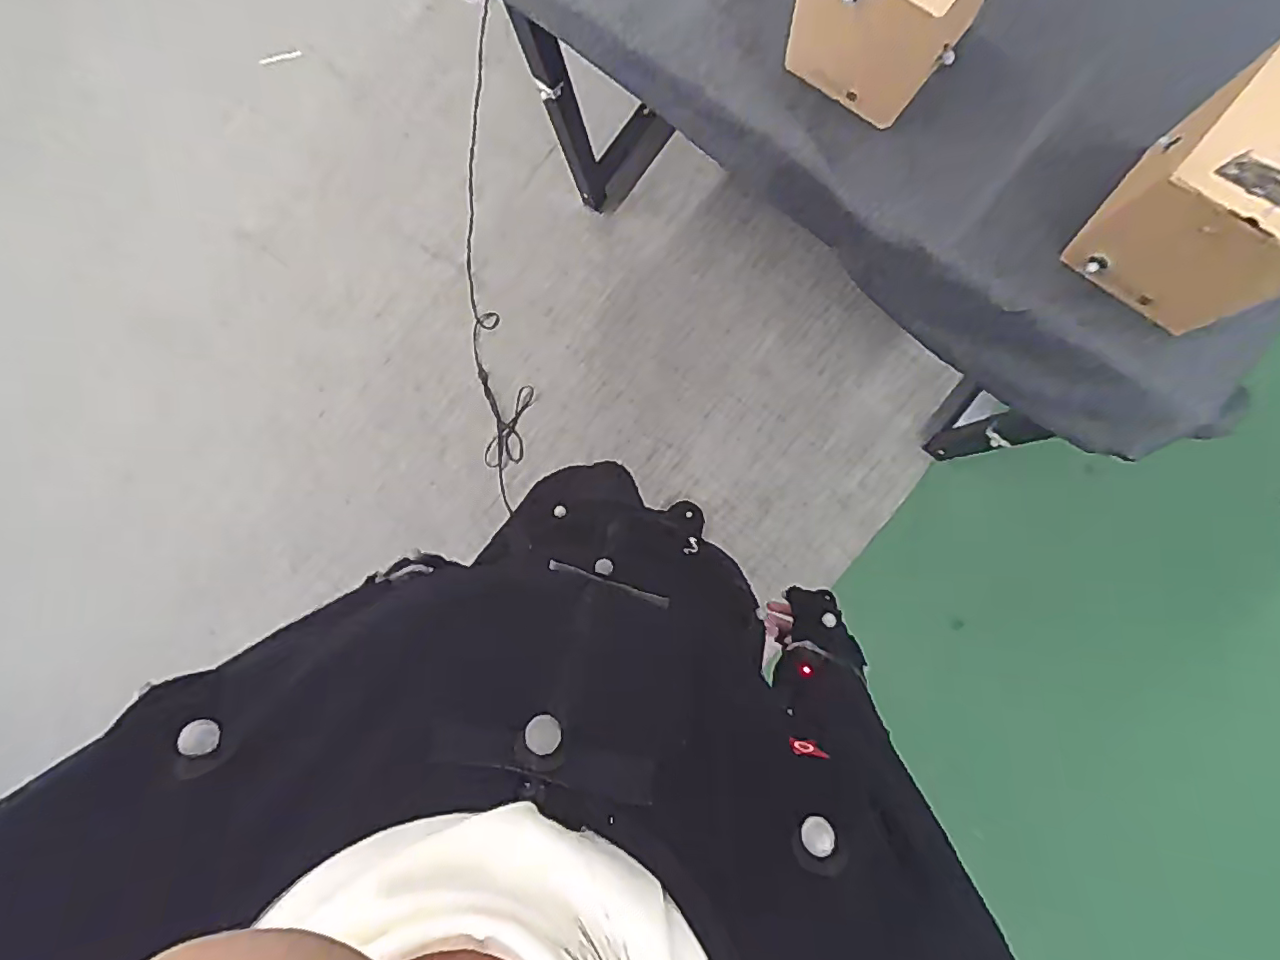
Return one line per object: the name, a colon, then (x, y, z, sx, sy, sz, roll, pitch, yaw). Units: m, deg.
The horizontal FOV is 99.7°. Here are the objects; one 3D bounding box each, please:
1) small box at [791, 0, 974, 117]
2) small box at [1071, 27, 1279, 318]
small box: (0.297, -0.584, 0.625, 0.168, 0.176, 0.179, 39, 92, 7)
small box: (0.618, -0.305, 0.574, 0.168, 0.176, 0.179, 40, 91, 7)
